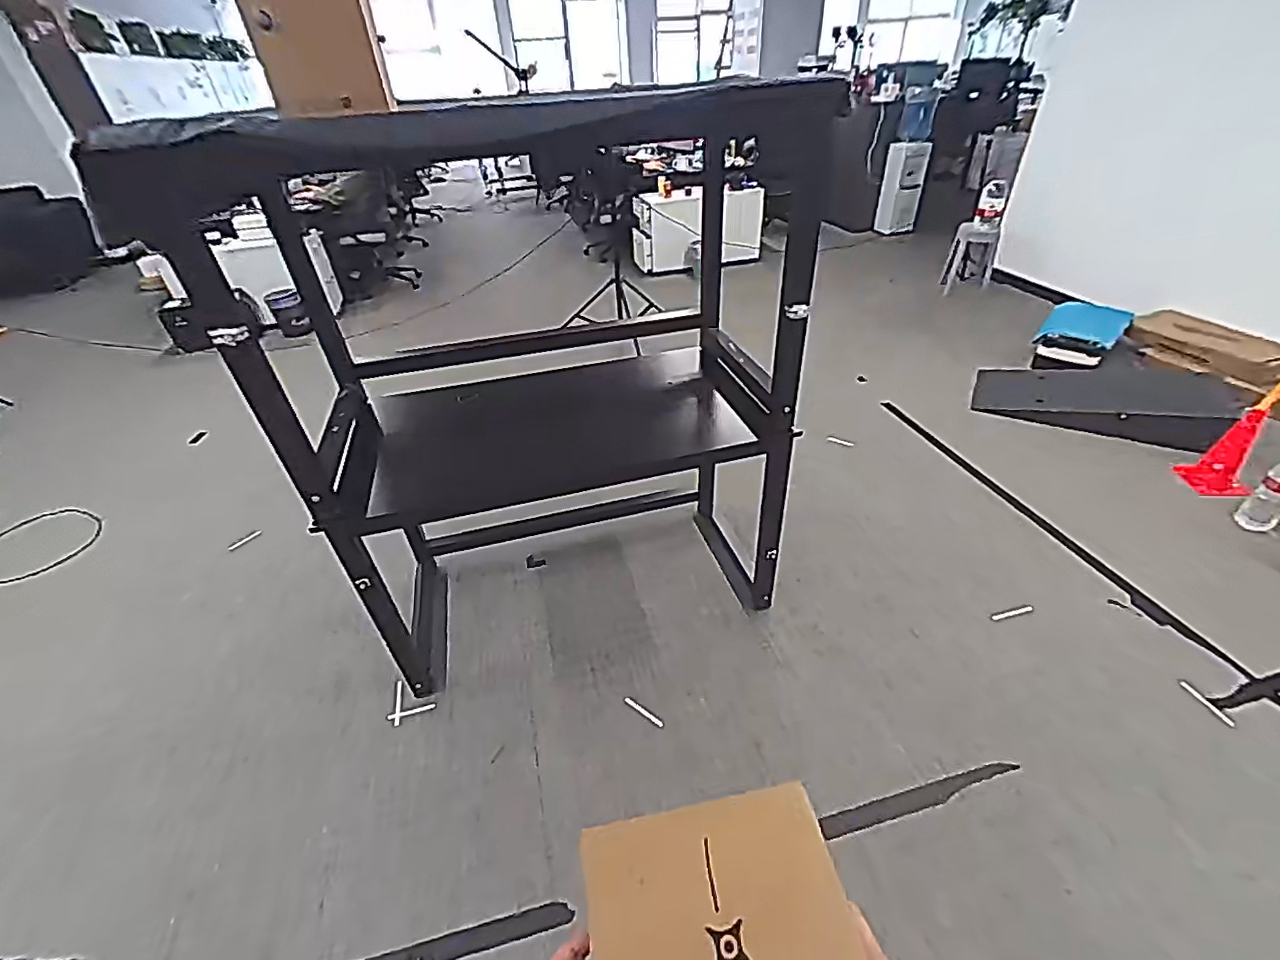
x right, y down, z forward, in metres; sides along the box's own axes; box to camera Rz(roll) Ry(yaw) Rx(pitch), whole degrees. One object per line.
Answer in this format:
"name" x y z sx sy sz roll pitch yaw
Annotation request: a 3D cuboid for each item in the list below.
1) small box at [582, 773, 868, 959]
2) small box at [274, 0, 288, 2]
"small box" 0.054 0.340 0.383 0.168 0.176 0.179 -7 46 -8
"small box" -0.513 -0.810 0.770 0.168 0.176 0.179 -12 36 -10
